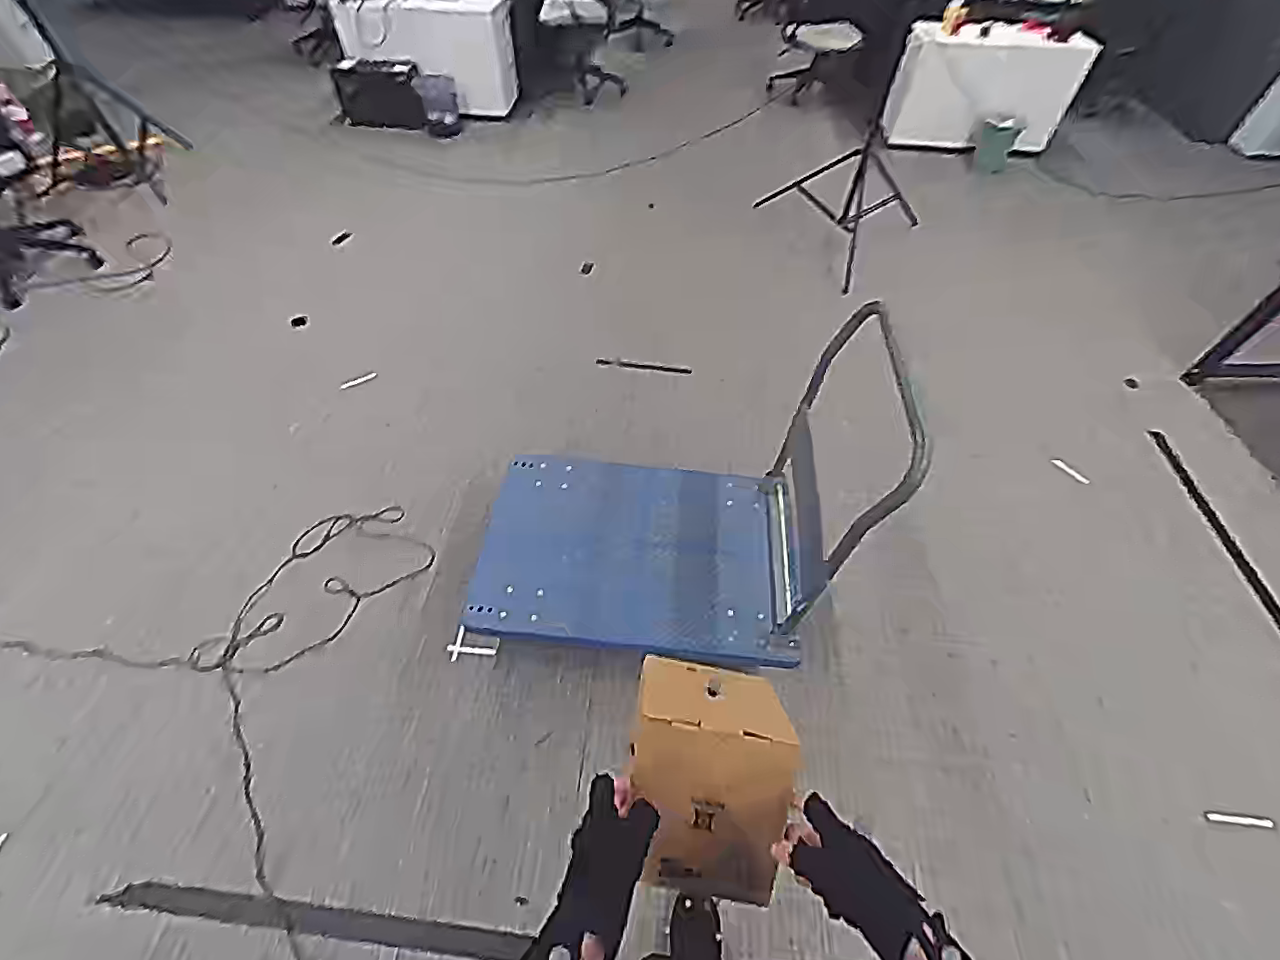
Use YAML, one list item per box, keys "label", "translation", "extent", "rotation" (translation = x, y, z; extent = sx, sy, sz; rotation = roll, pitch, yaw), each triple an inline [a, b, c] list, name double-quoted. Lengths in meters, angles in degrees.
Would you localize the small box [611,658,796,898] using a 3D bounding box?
- label: "small box"
  translation: [0.065, 0.328, 0.632]
  extent: [0.168, 0.176, 0.179]
  rotation: [11, 92, 1]
